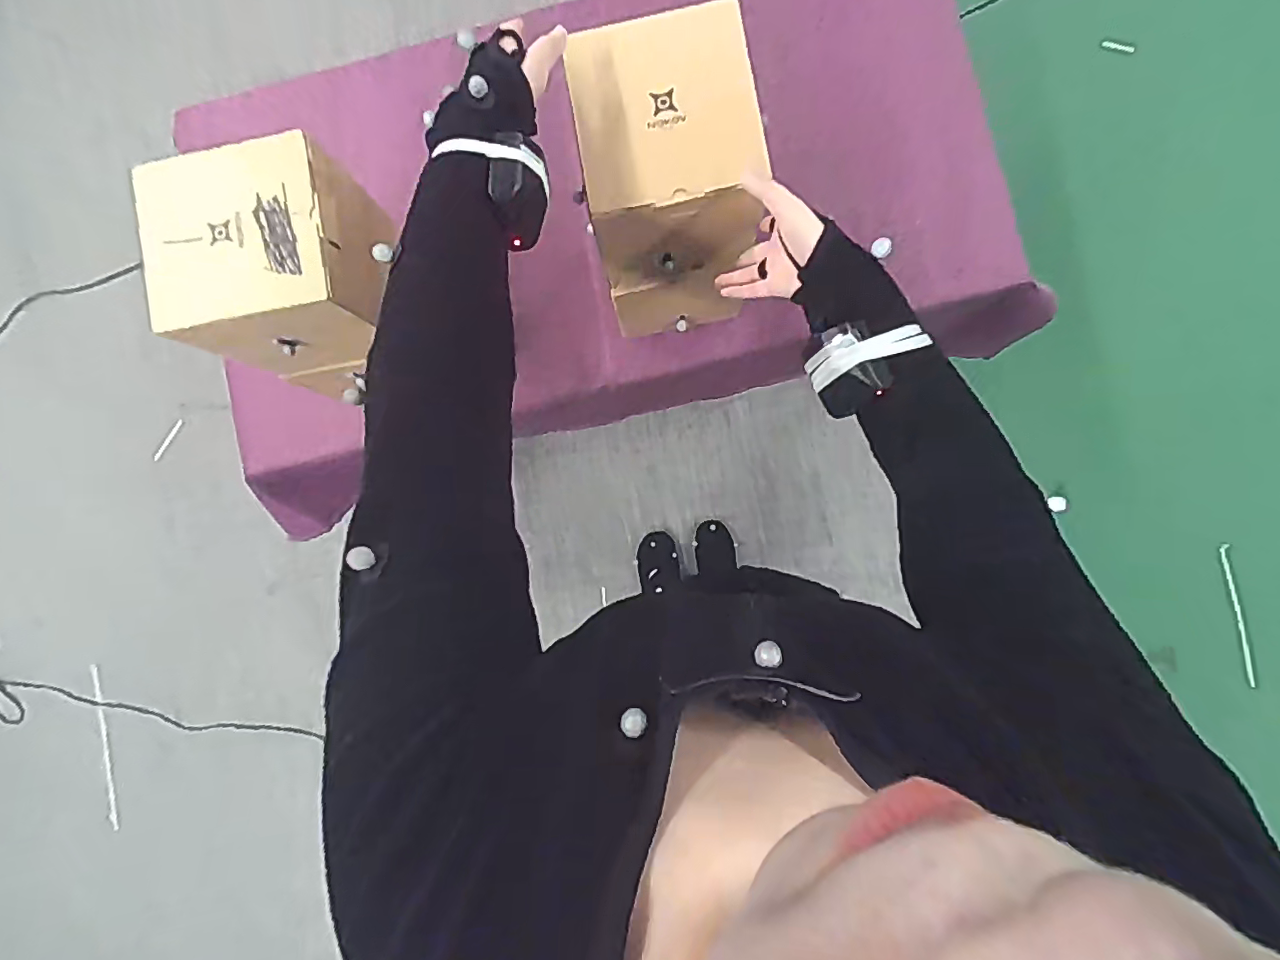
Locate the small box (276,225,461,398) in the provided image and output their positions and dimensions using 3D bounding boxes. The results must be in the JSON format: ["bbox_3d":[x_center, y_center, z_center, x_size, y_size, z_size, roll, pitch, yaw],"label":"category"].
[{"bbox_3d":[-0.372,-0.218,0.748,0.179,0.176,0.168,-10,88,2],"label":"small box"}]

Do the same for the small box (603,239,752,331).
[{"bbox_3d":[0.037,-0.317,0.727,0.179,0.176,0.168,-11,86,2],"label":"small box"}]

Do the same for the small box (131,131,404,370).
[{"bbox_3d":[-0.377,-0.229,0.584,0.179,0.176,0.168,-11,87,4],"label":"small box"}]

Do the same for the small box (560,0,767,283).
[{"bbox_3d":[0.023,-0.335,0.565,0.168,0.176,0.179,-11,88,3],"label":"small box"}]
